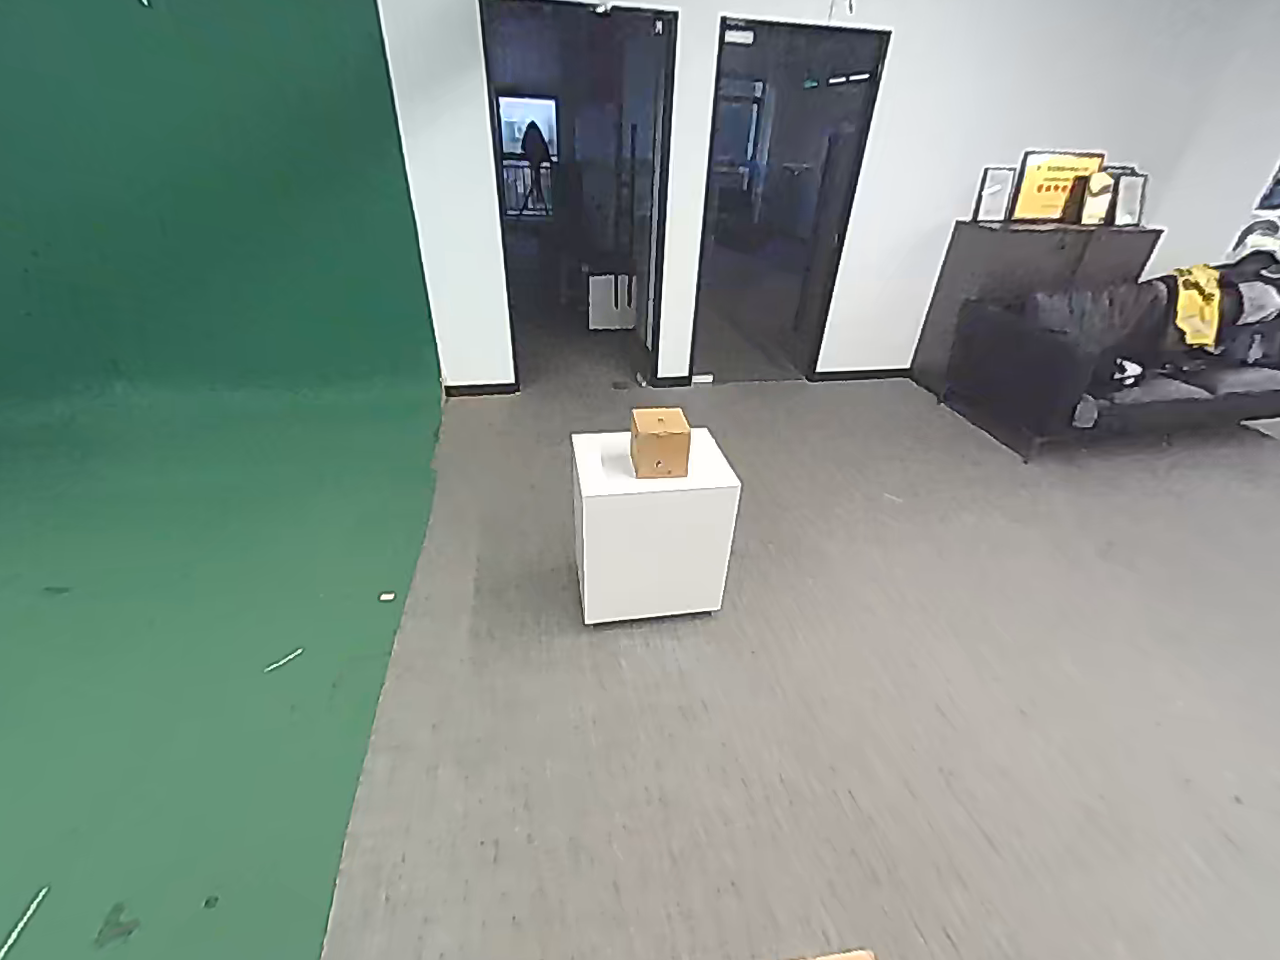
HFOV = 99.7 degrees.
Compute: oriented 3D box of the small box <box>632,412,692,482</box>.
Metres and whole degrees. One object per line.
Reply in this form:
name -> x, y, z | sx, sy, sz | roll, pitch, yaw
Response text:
small box -> 0.064, -0.109, 1.750 | 0.168, 0.176, 0.179 | -3, 32, -8
